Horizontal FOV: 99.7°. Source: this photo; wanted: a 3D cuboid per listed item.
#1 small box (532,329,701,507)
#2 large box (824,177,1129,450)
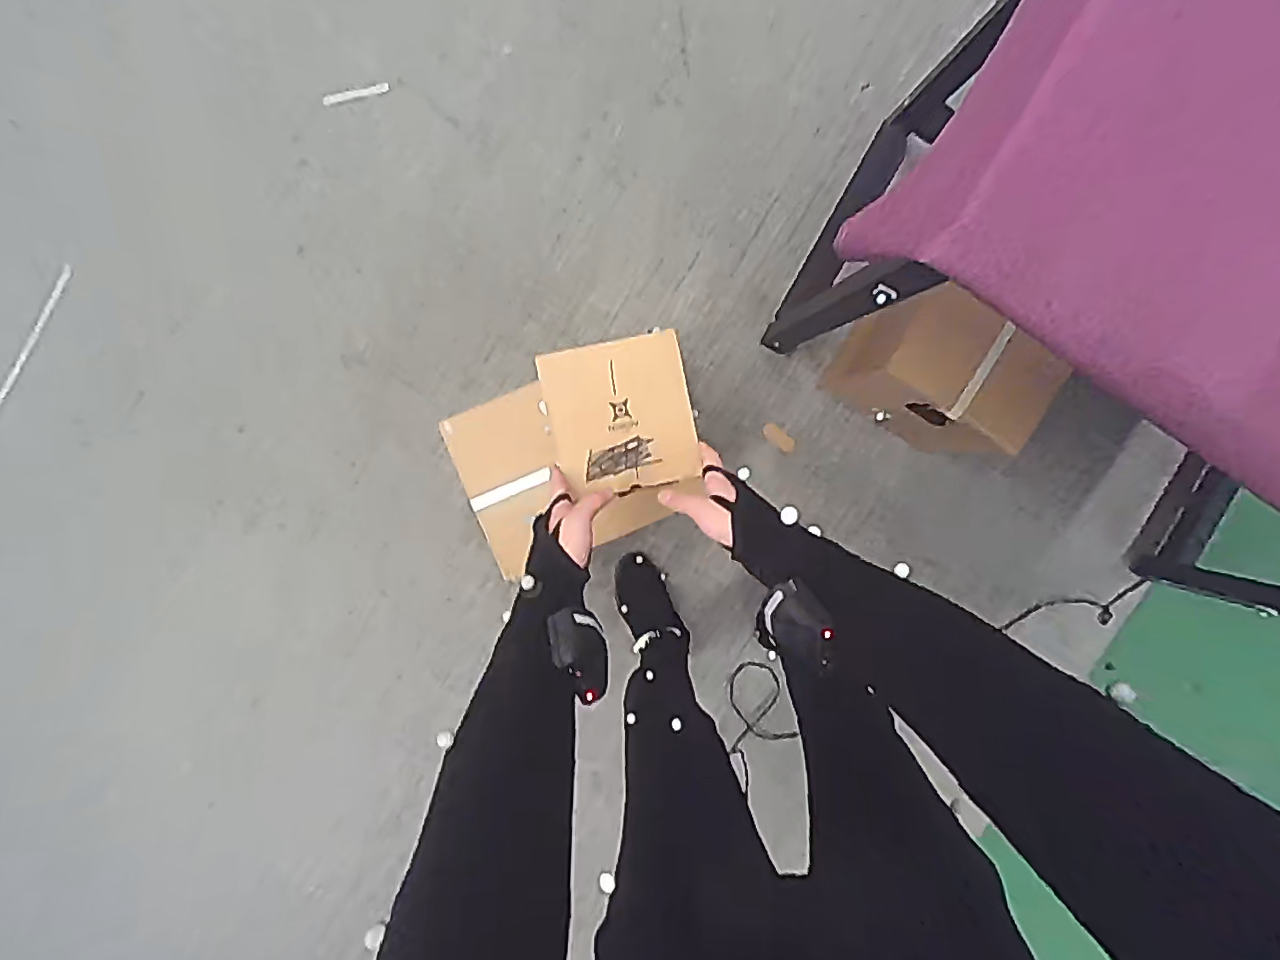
[{"bbox_3d":[-0.029,-0.074,0.688,0.168,0.176,0.179,-13,93,-3],"label":"small box"},{"bbox_3d":[0.661,-0.305,1.129,0.320,0.320,0.408,30,91,-7],"label":"large box"}]
